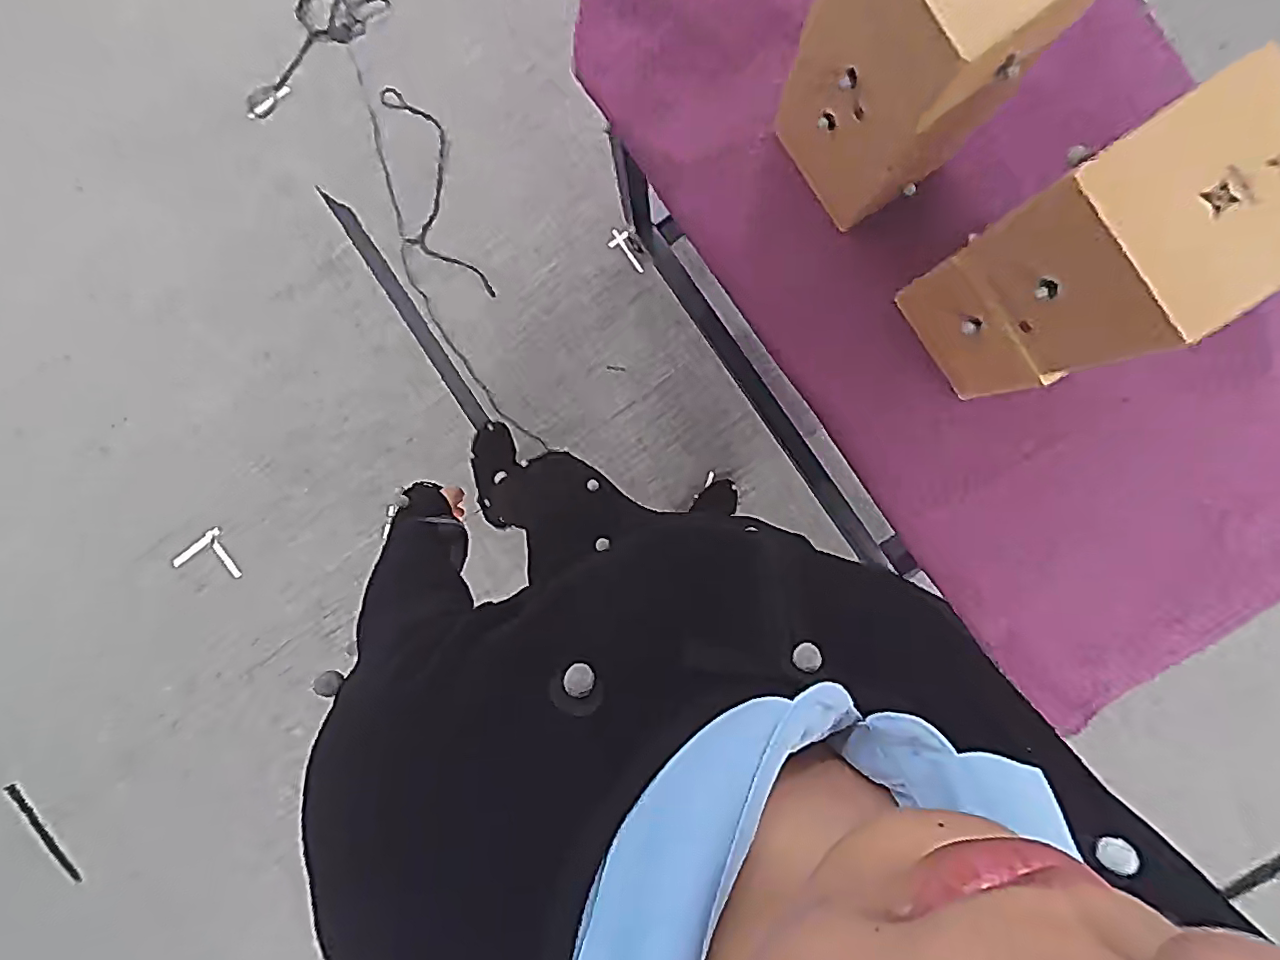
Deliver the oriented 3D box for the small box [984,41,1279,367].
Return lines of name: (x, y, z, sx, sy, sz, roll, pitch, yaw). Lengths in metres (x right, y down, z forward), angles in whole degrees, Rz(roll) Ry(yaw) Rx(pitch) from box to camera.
small box: (0.461, -0.225, 0.497, 0.179, 0.176, 0.168, -33, 91, 4)

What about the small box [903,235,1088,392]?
small box: (0.467, -0.222, 0.663, 0.168, 0.176, 0.179, -34, 90, 4)

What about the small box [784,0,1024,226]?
small box: (0.299, -0.454, 0.658, 0.168, 0.176, 0.179, -34, 91, 4)
